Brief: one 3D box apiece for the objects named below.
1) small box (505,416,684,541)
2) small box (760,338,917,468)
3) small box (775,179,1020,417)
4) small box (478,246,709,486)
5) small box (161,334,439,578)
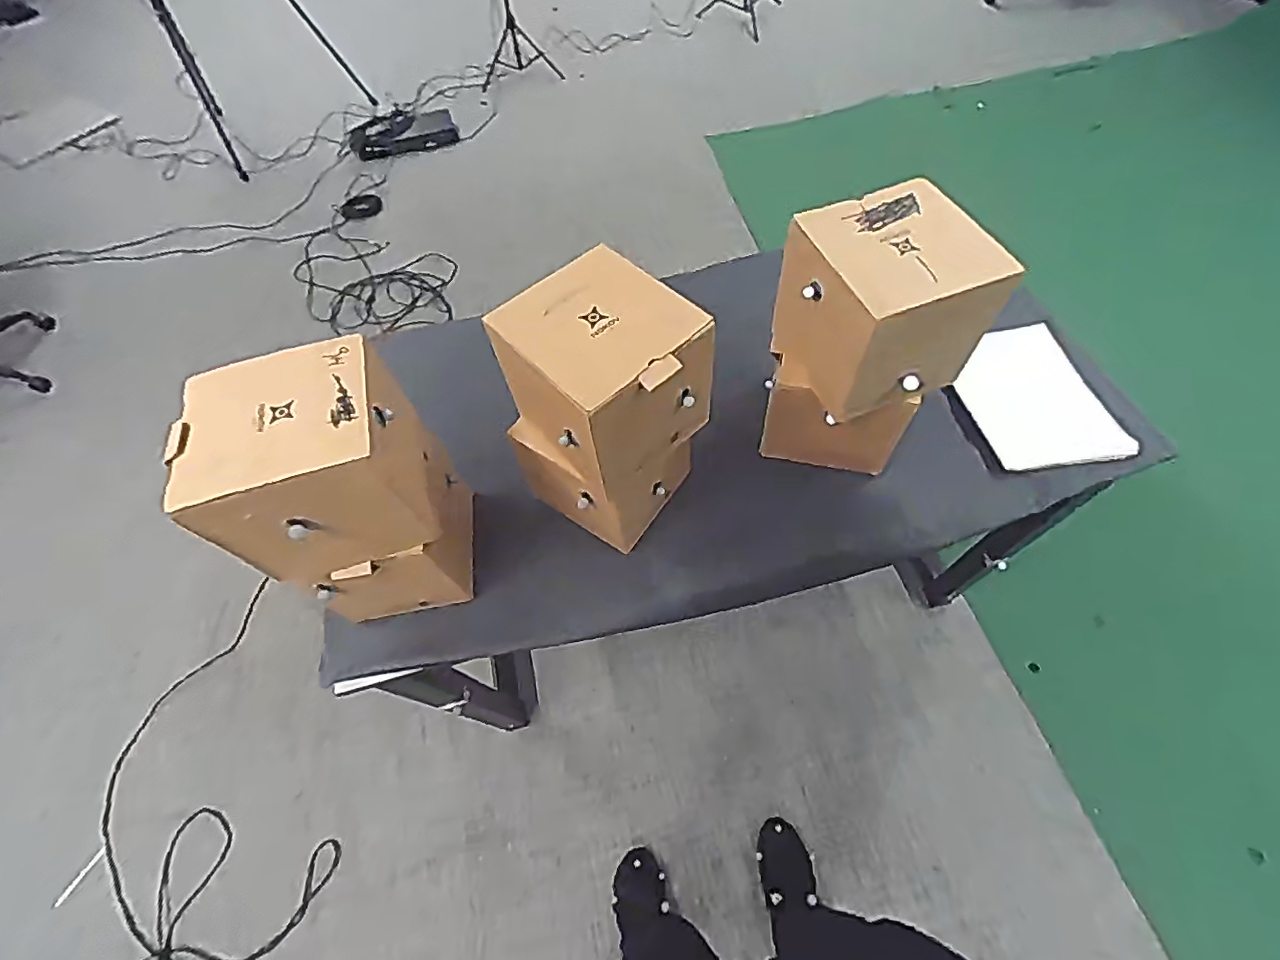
[{"bbox_3d":[-0.049,-0.037,0.746,0.179,0.176,0.168,30,66,20],"label":"small box"},{"bbox_3d":[0.279,-0.135,0.776,0.179,0.176,0.168,10,61,12],"label":"small box"},{"bbox_3d":[0.272,-0.205,0.626,0.168,0.176,0.179,-19,60,-5],"label":"small box"},{"bbox_3d":[-0.042,-0.116,0.603,0.168,0.176,0.179,-40,64,-18],"label":"small box"},{"bbox_3d":[-0.336,-0.017,0.569,0.179,0.176,0.168,-17,59,-5],"label":"small box"}]
